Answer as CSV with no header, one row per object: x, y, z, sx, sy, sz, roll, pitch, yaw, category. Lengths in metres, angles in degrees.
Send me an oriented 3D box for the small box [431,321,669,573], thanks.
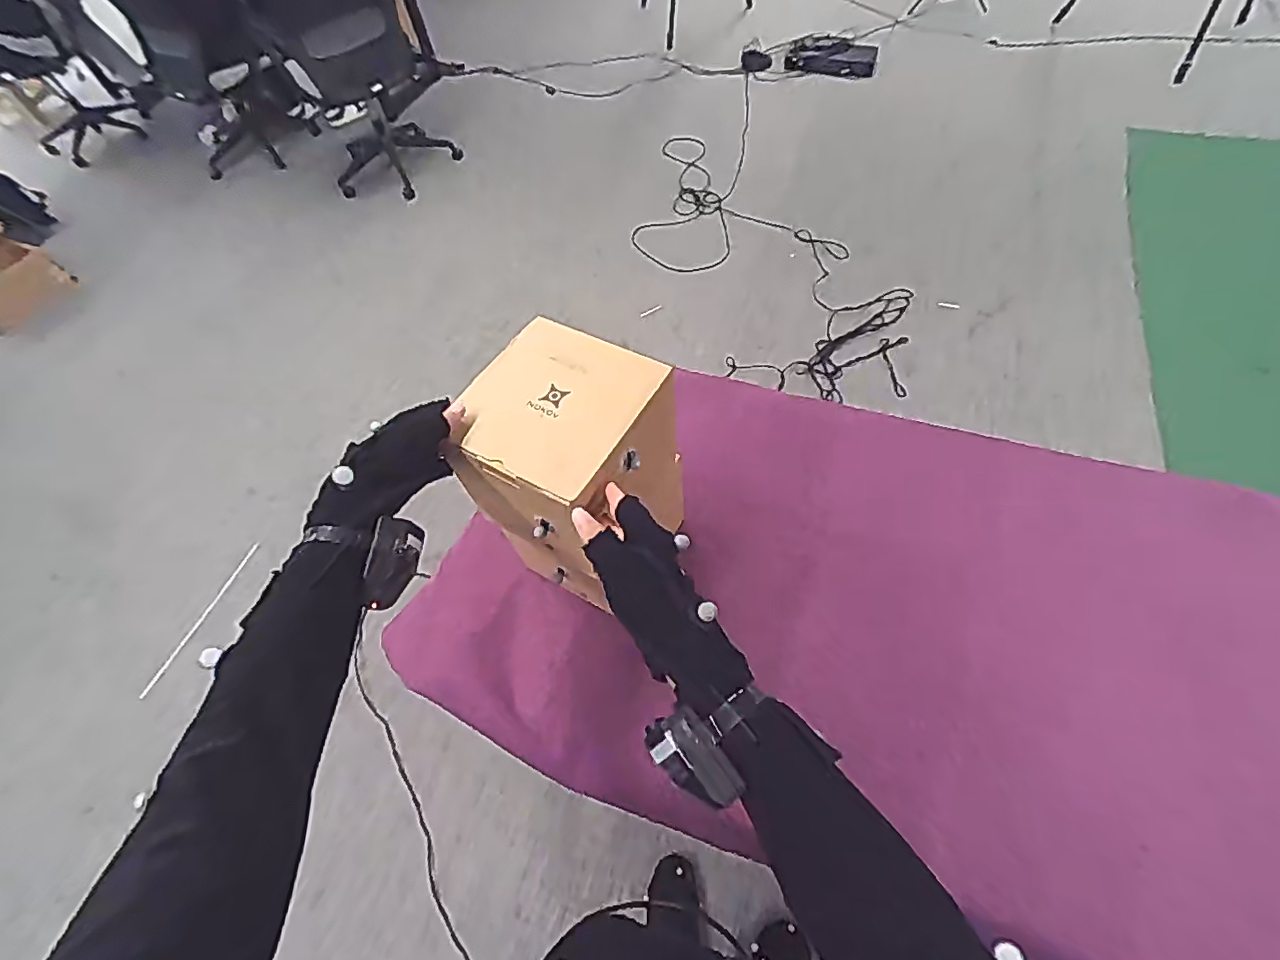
-0.076,-0.029,0.576,0.168,0.176,0.179,26,64,19,small box

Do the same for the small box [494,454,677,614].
-0.056,0.051,0.717,0.168,0.176,0.179,24,64,19,small box
